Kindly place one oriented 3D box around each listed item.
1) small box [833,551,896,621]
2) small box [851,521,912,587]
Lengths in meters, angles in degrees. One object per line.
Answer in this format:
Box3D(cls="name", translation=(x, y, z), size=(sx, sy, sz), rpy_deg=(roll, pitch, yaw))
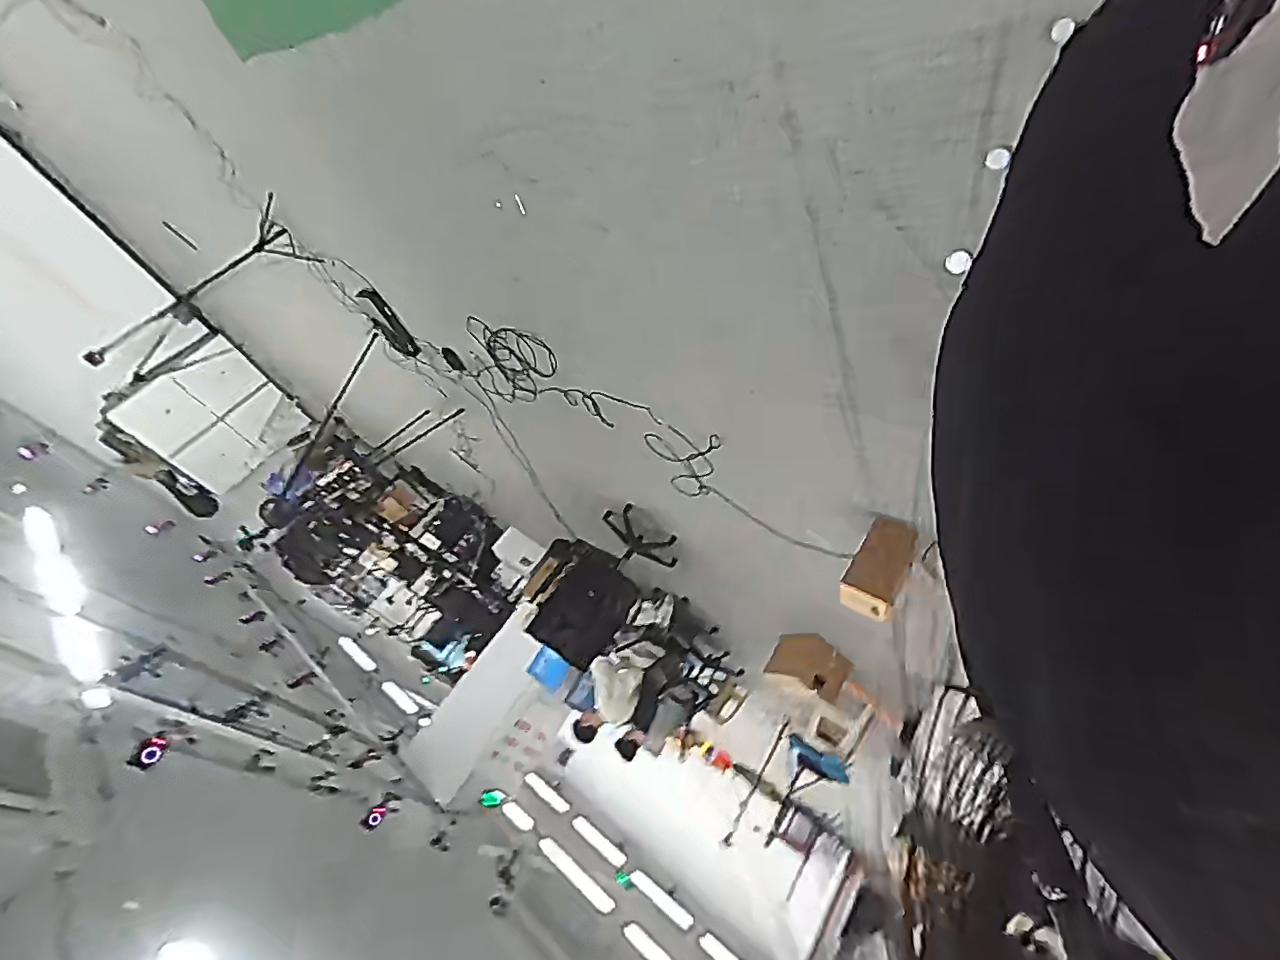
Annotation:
Box3D(cls="small box", translation=(0.854, 0.398, 2.056), size=(0.179, 0.176, 0.168), rpy_deg=(23, 152, 34))
Box3D(cls="small box", translation=(0.952, 0.287, 2.130), size=(0.179, 0.176, 0.168), rpy_deg=(22, 152, 34))
